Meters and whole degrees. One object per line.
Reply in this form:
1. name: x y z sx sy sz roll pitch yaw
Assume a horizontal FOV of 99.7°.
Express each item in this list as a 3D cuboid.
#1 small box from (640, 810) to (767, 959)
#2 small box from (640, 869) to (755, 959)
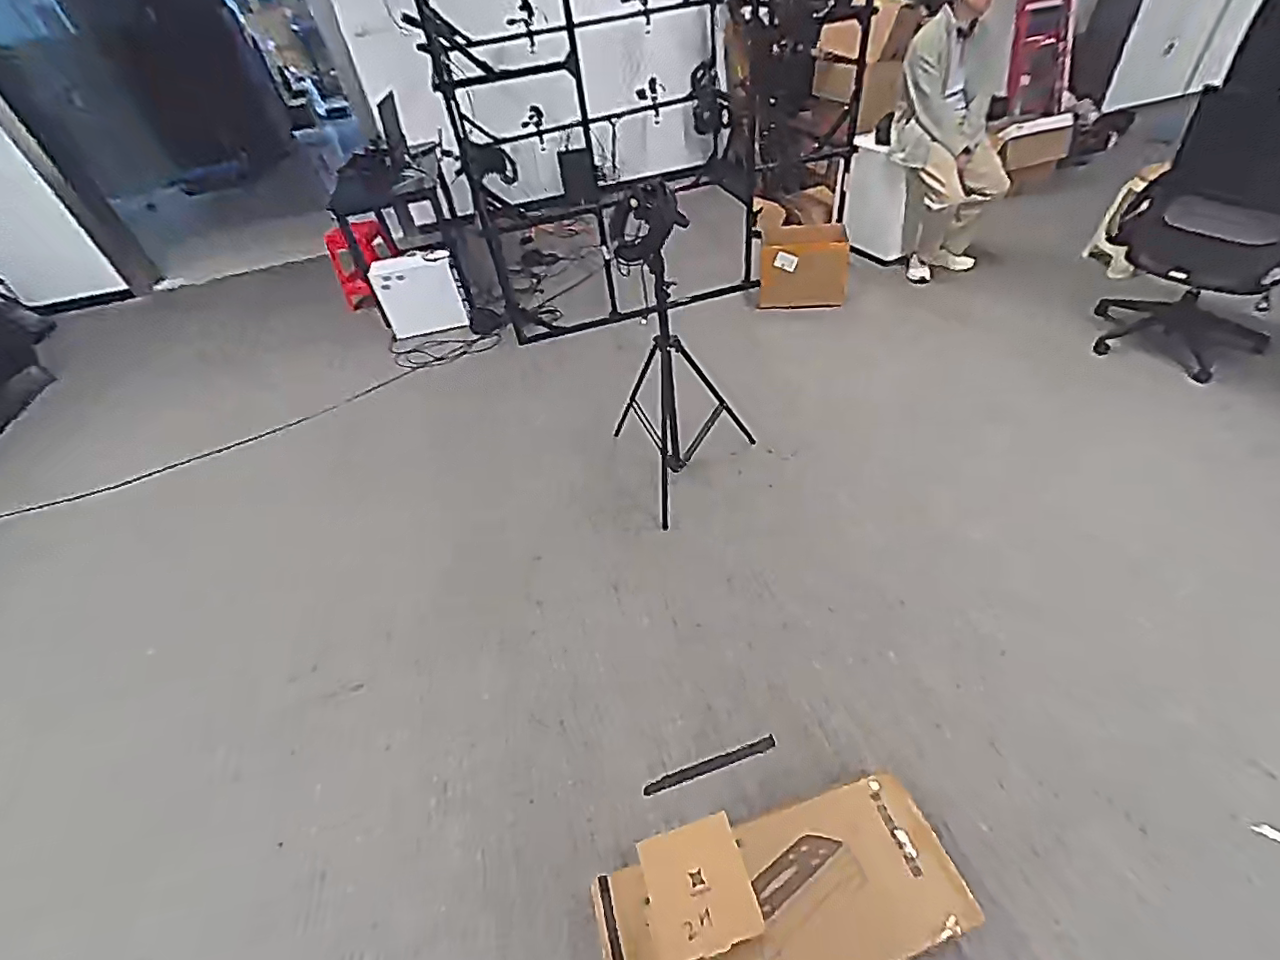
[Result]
1. small box: 0.104 0.713 0.934 0.168 0.176 0.179 -15 43 -7
2. small box: 0.106 0.842 1.039 0.168 0.176 0.179 -16 44 -8
